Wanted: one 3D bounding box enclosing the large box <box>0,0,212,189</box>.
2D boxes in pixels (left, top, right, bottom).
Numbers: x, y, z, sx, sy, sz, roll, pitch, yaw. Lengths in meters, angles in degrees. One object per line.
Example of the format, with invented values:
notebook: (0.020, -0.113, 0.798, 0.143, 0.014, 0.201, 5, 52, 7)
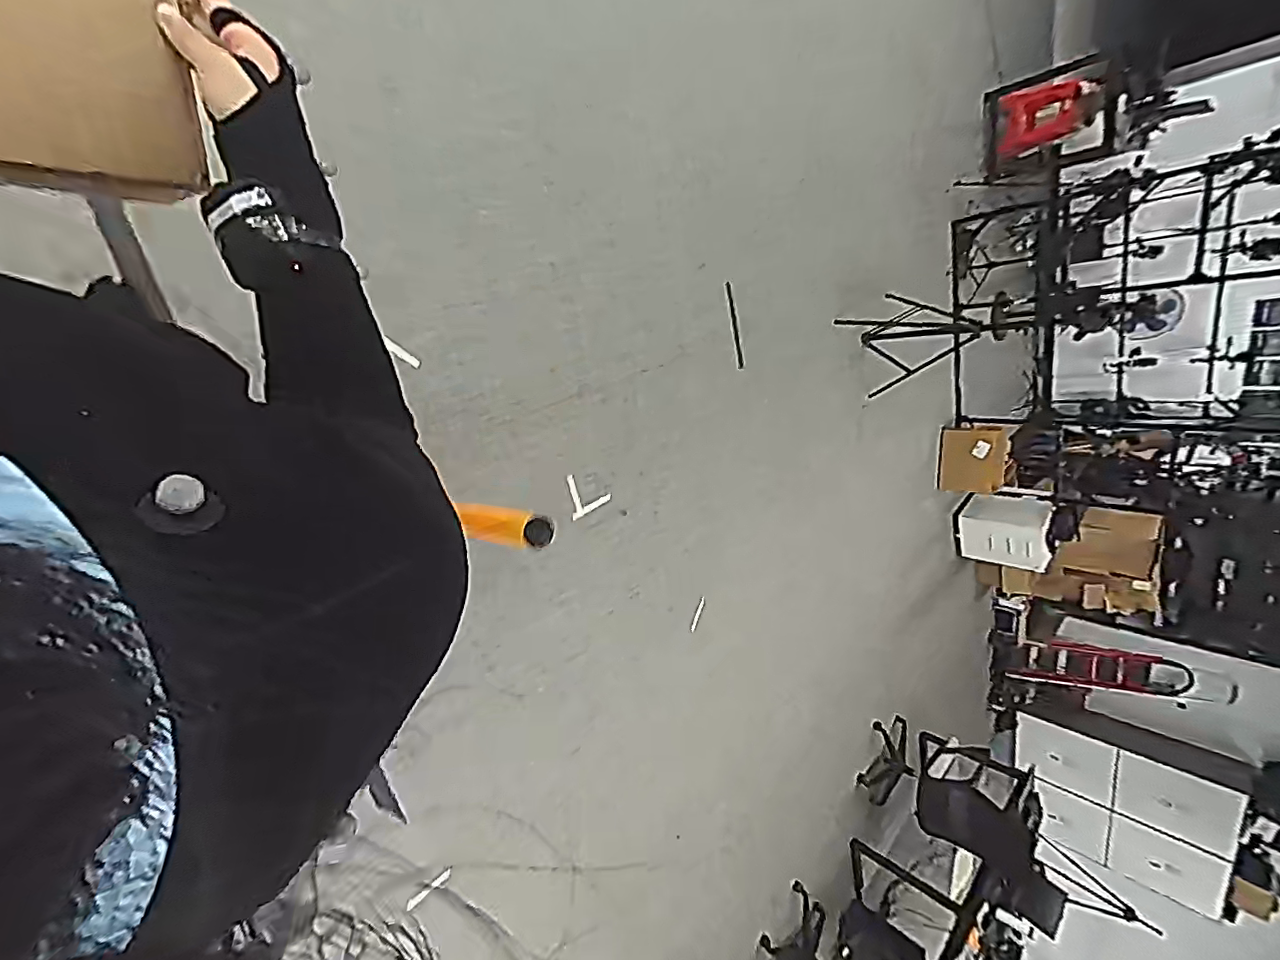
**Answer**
large box: (-0.582, -0.396, 0.358, 0.408, 0.320, 0.320, -14, 117, -41)
